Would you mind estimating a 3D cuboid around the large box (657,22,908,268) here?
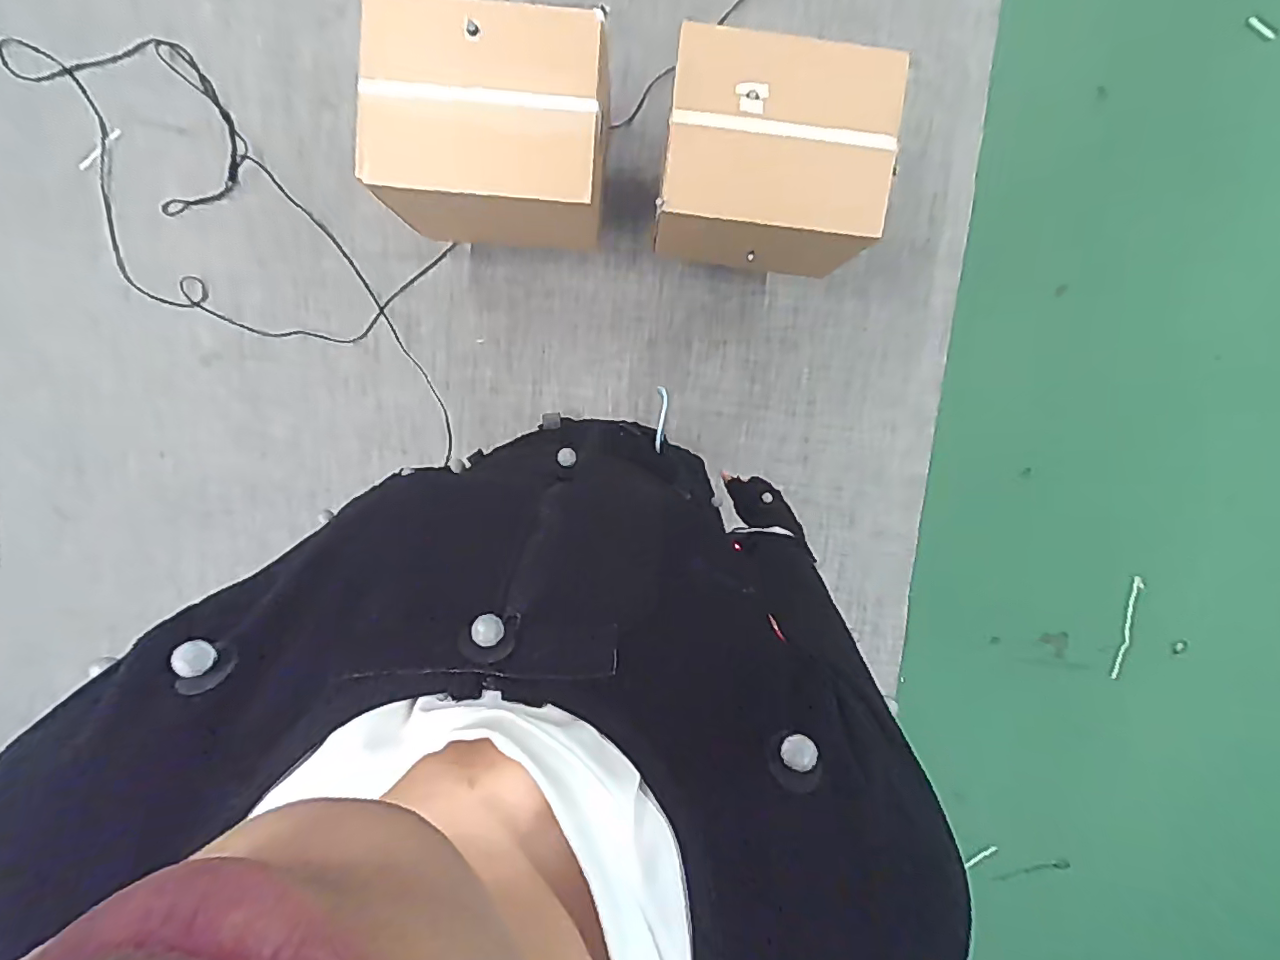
[{"bbox_3d":[0.256,-0.643,1.105,0.408,0.320,0.320,7,97,-2],"label":"large box"}]
